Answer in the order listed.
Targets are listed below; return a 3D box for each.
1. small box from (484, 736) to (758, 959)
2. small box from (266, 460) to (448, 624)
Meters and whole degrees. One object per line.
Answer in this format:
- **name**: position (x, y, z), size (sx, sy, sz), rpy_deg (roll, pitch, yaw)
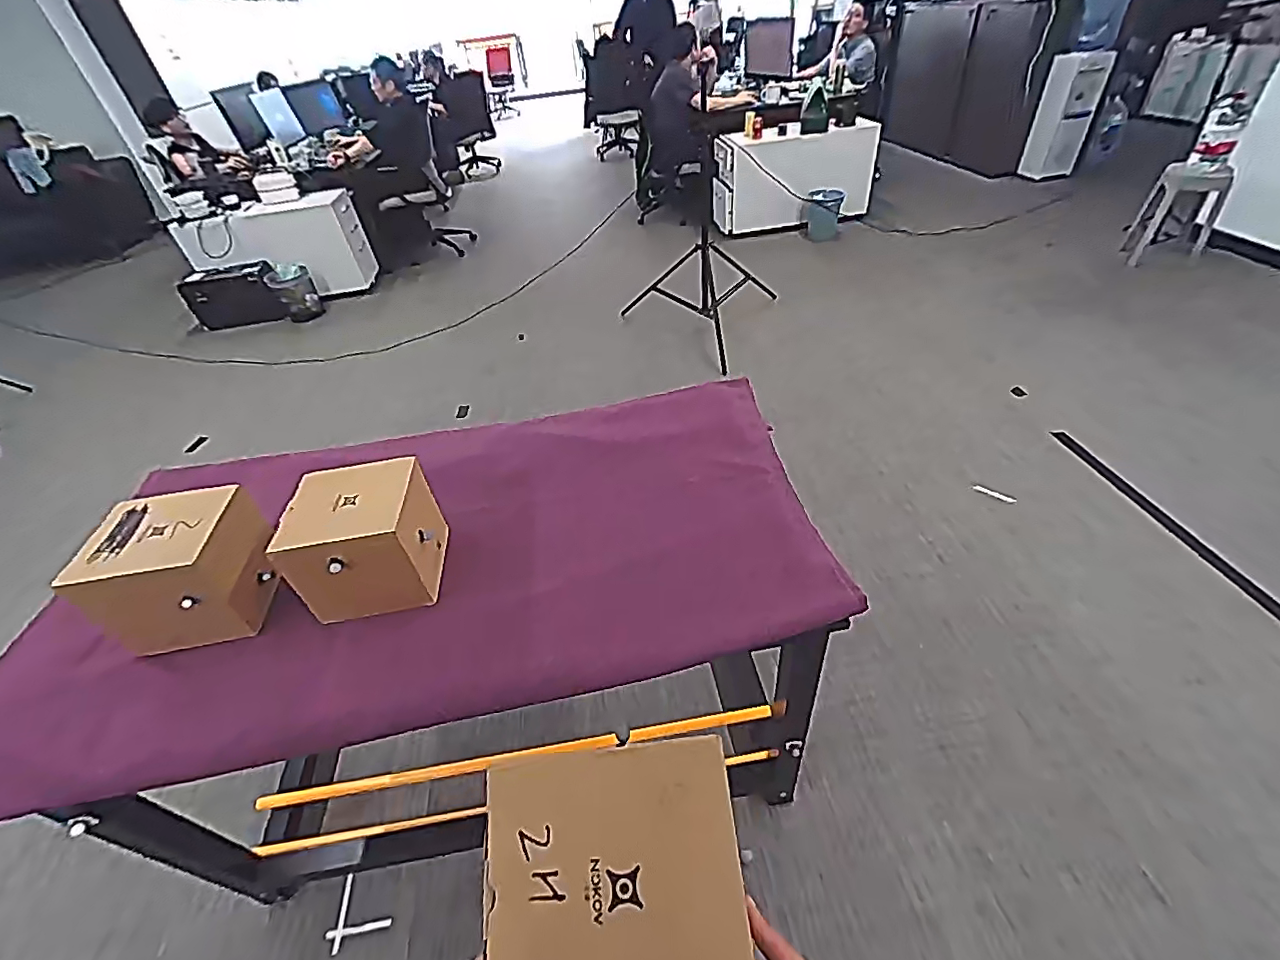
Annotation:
- **small box**: position (-0.011, 0.301, 0.430), size (0.179, 0.176, 0.168), rpy_deg (-7, 64, 3)
- **small box**: position (-0.411, 0.096, 0.827), size (0.179, 0.176, 0.168), rpy_deg (-10, 41, -2)
